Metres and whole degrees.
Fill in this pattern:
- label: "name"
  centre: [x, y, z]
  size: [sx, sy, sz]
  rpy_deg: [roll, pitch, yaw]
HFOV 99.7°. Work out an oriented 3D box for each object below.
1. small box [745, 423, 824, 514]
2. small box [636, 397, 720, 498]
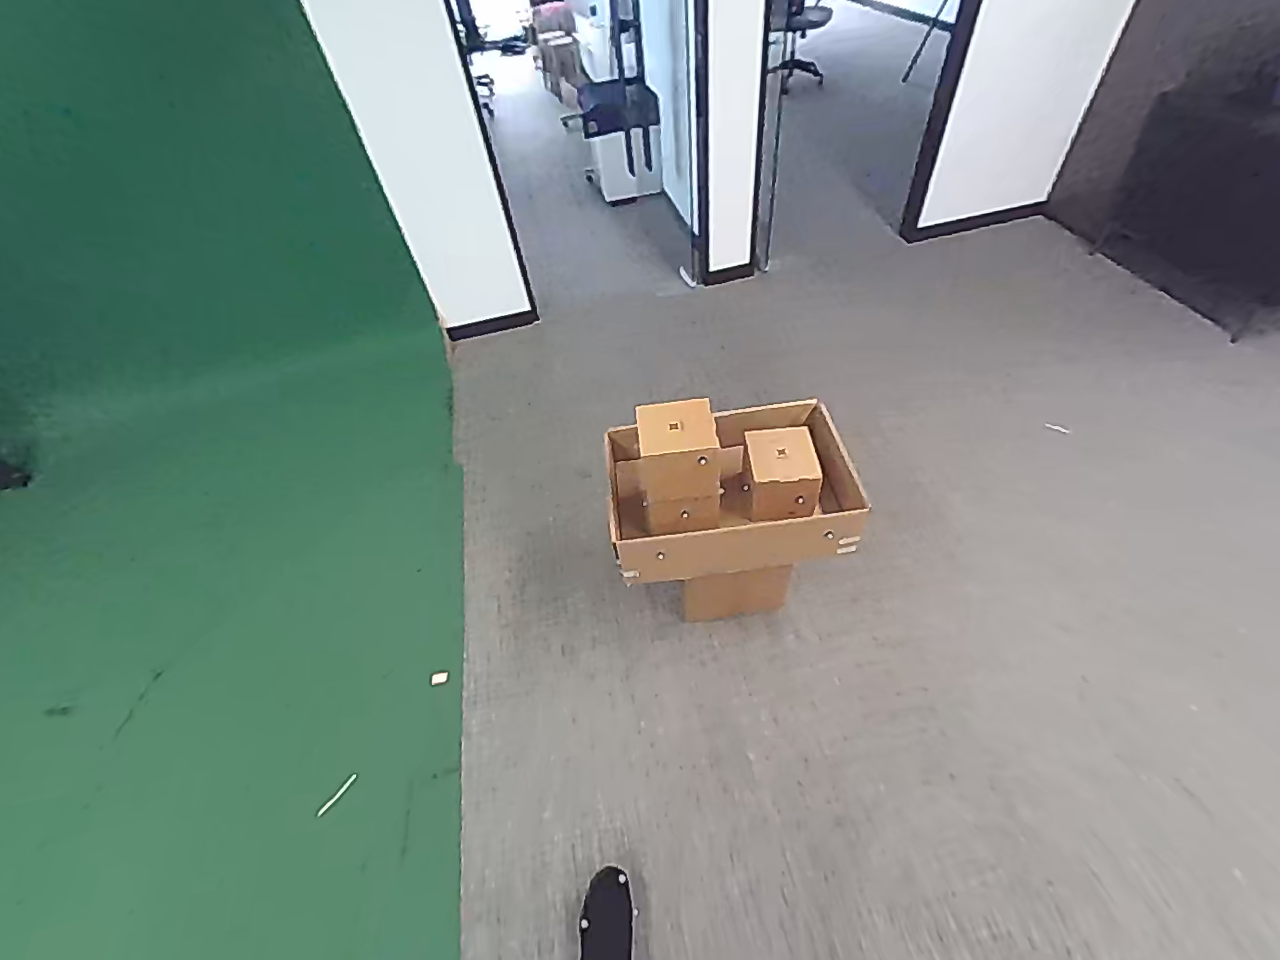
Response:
- label: "small box"
  centre: [0.369, -0.023, 1.411]
  size: [0.168, 0.176, 0.179]
  rpy_deg: [-4, 50, 4]
- label: "small box"
  centre: [0.092, -0.072, 1.284]
  size: [0.179, 0.176, 0.168]
  rpy_deg: [-7, 50, 2]
